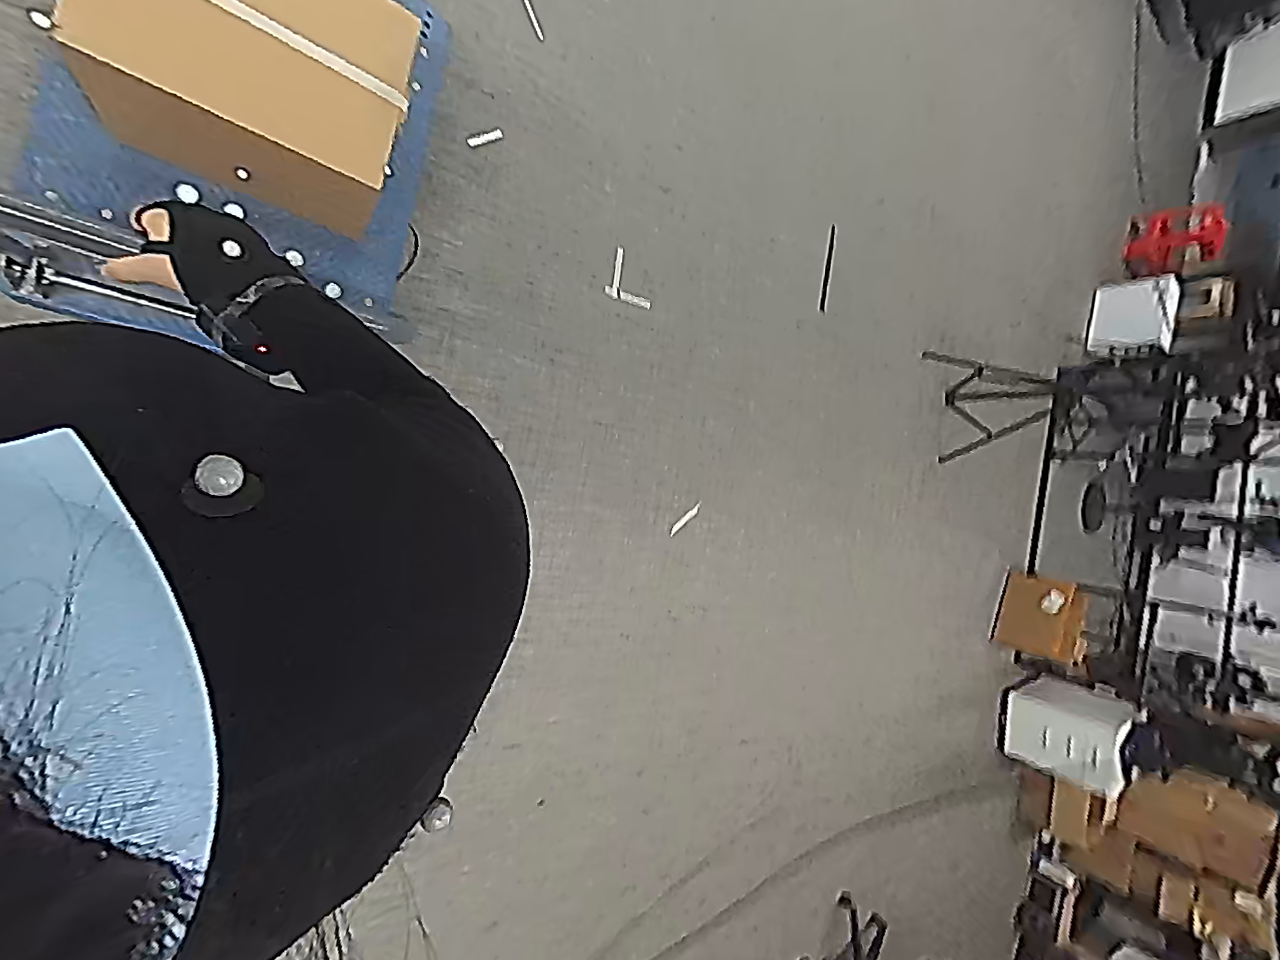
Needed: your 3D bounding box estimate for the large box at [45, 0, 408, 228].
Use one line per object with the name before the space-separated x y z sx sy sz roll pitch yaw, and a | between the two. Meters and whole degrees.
large box | -0.667 -0.708 0.943 0.408 0.320 0.320 13 87 -33
